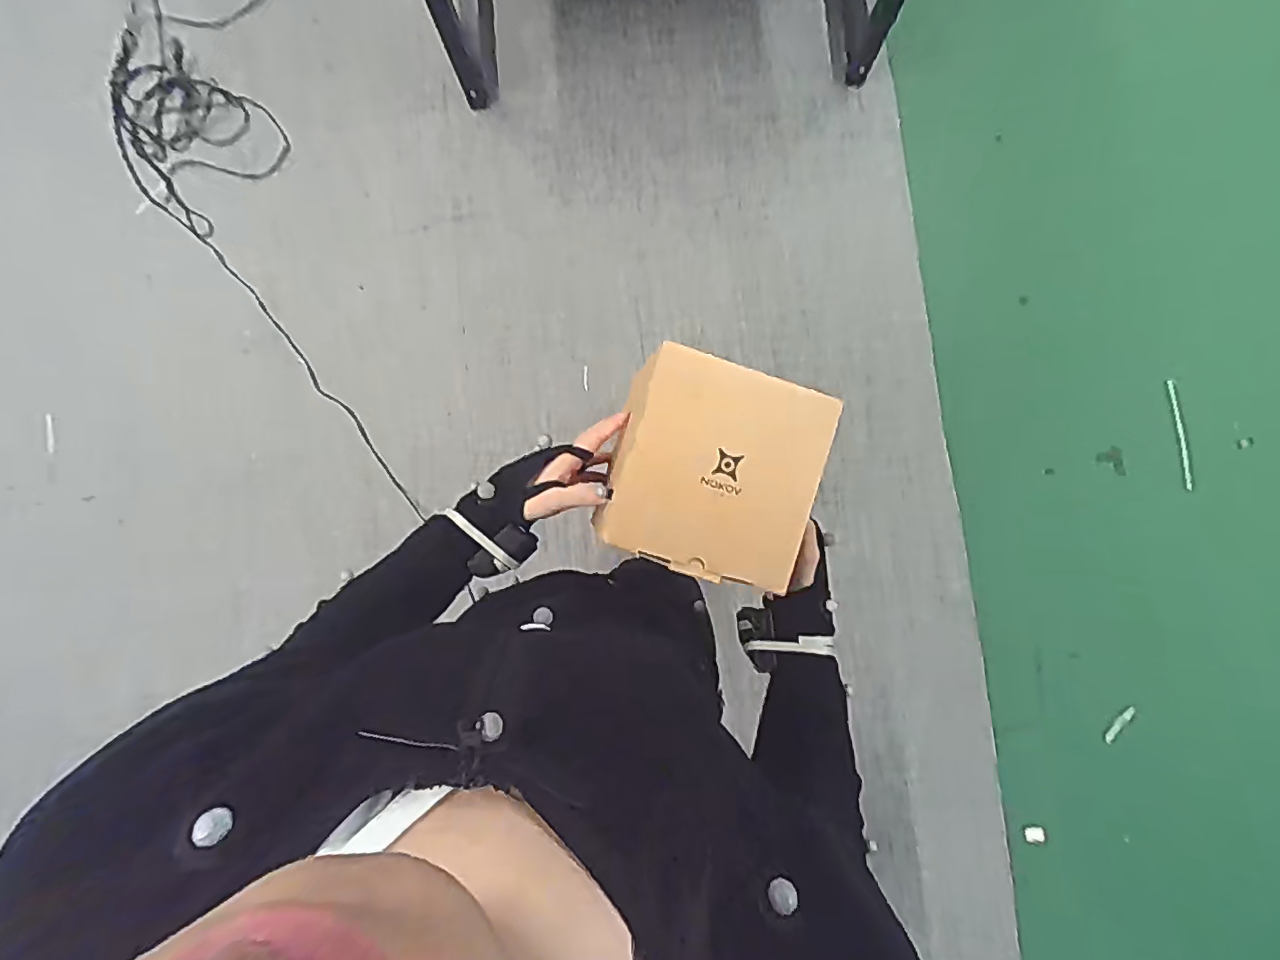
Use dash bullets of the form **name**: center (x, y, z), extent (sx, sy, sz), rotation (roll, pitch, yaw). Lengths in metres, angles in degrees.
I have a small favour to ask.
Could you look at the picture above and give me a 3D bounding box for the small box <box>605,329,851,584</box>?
- **small box**: center (0.068, -0.019, 0.522), extent (0.168, 0.176, 0.179), rotation (16, 90, -8)
